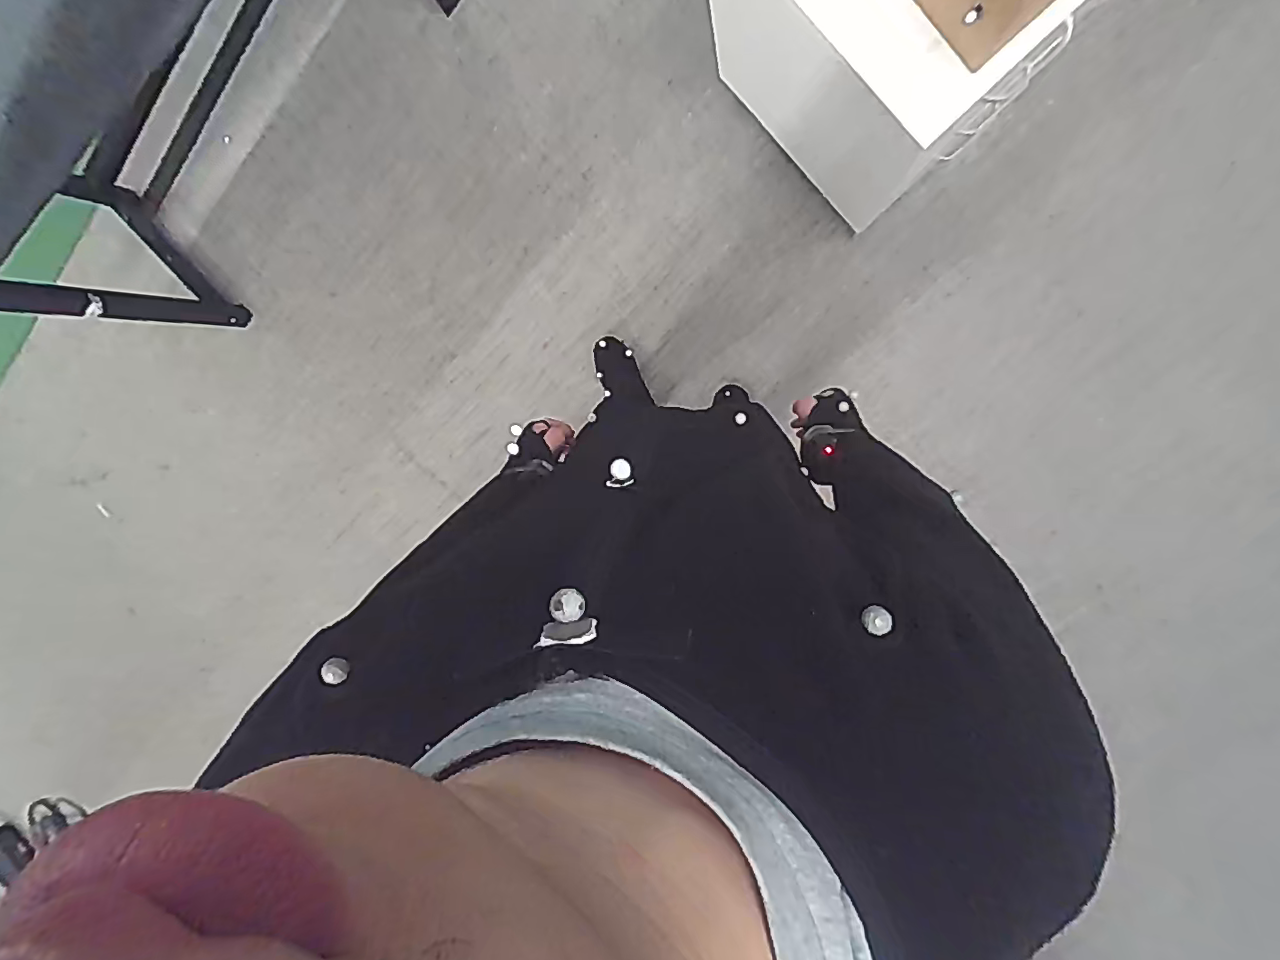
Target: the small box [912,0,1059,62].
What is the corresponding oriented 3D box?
[{"bbox_3d":[0.448,-0.652,0.643,0.168,0.176,0.179,-40,89,16],"label":"small box"}]
